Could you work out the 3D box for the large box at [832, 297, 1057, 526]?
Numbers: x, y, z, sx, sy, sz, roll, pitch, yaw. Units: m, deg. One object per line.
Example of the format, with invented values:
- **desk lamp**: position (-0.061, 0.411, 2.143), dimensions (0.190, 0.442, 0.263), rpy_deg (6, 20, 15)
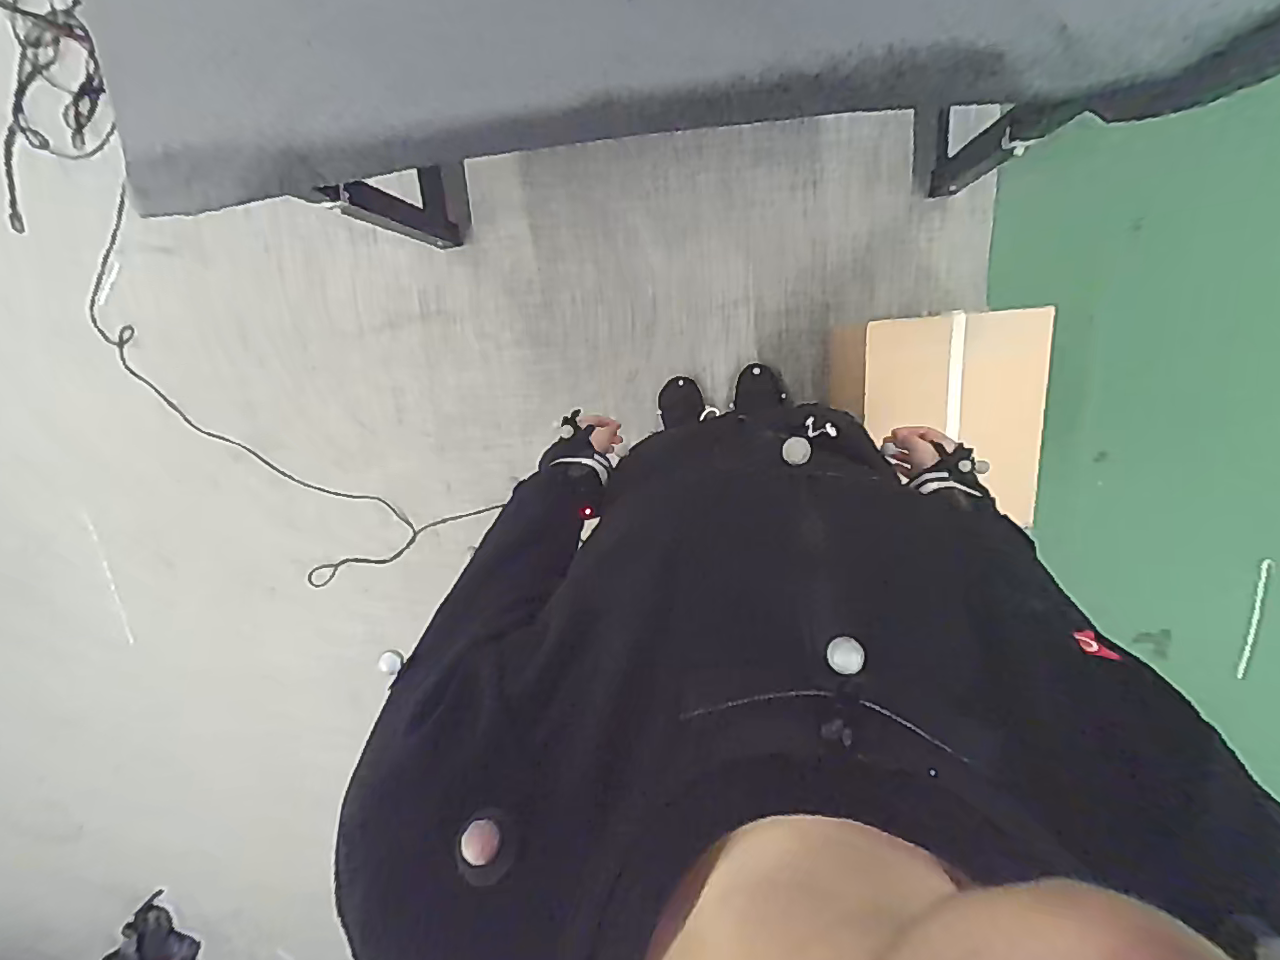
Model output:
- **large box**: position (0.595, -0.149, 1.129), dimensions (0.320, 0.320, 0.408), rpy_deg (-3, 104, 9)
